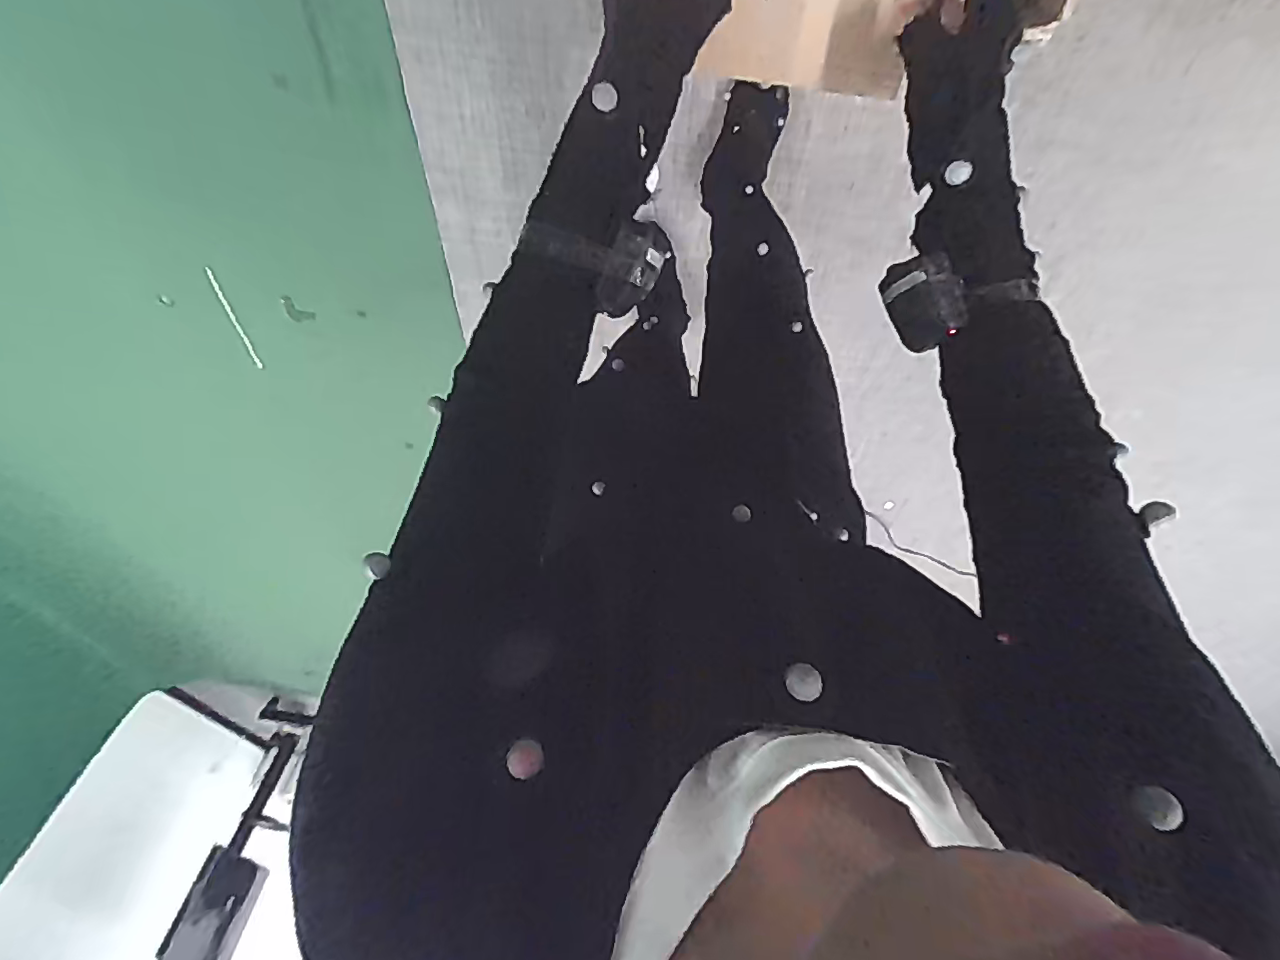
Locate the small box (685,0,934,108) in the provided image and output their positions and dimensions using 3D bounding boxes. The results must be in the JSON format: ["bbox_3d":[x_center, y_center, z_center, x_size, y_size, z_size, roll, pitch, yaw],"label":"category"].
[{"bbox_3d":[0.135,-0.428,0.431,0.179,0.176,0.168,6,141,-2],"label":"small box"}]
